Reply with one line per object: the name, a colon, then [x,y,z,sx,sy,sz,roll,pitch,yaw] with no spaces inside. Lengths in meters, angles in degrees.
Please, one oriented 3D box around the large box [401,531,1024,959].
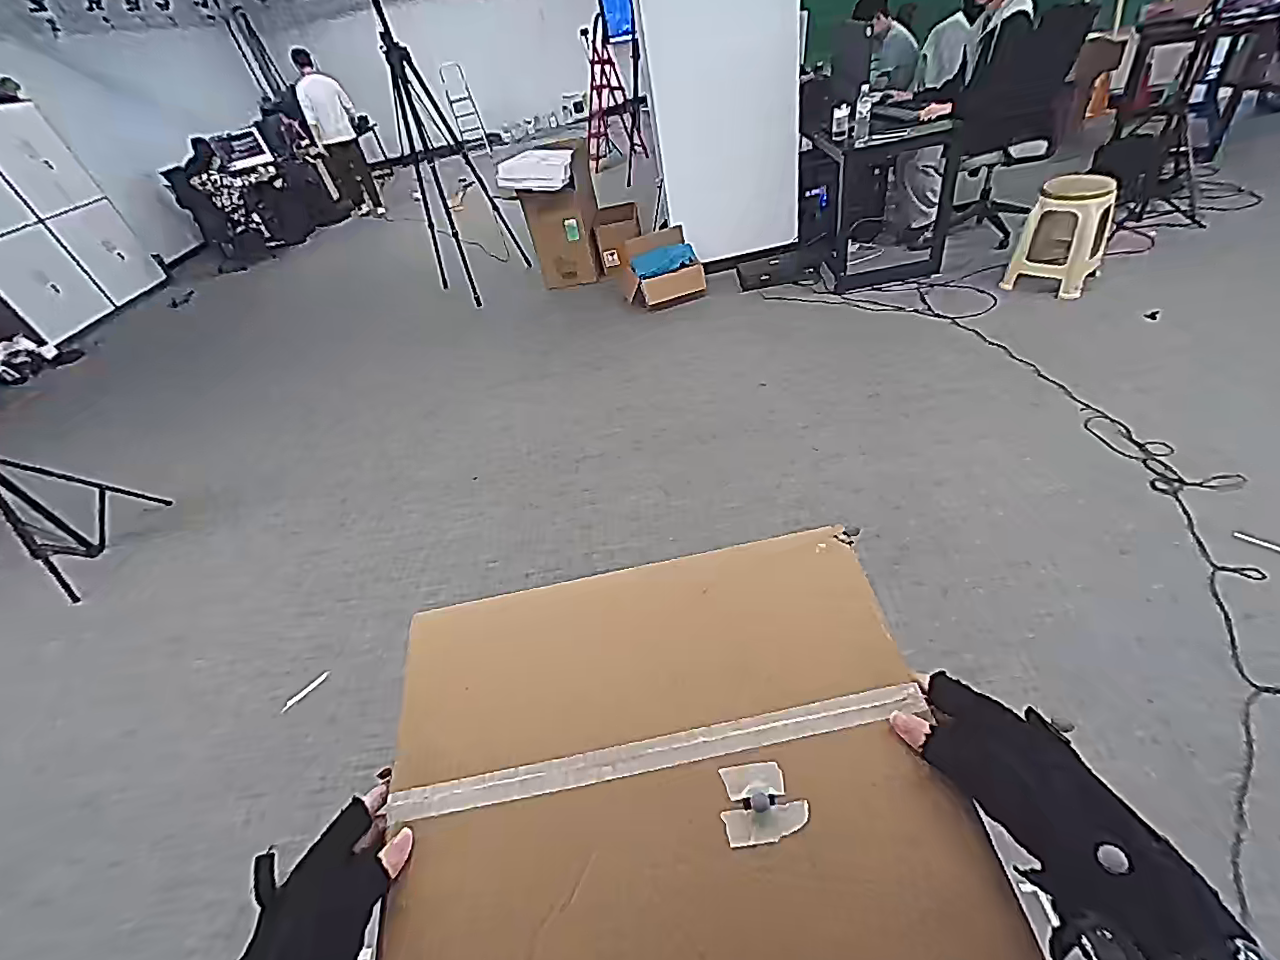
large box: [0.035,0.297,0.534,0.408,0.320,0.320,-12,53,0]
